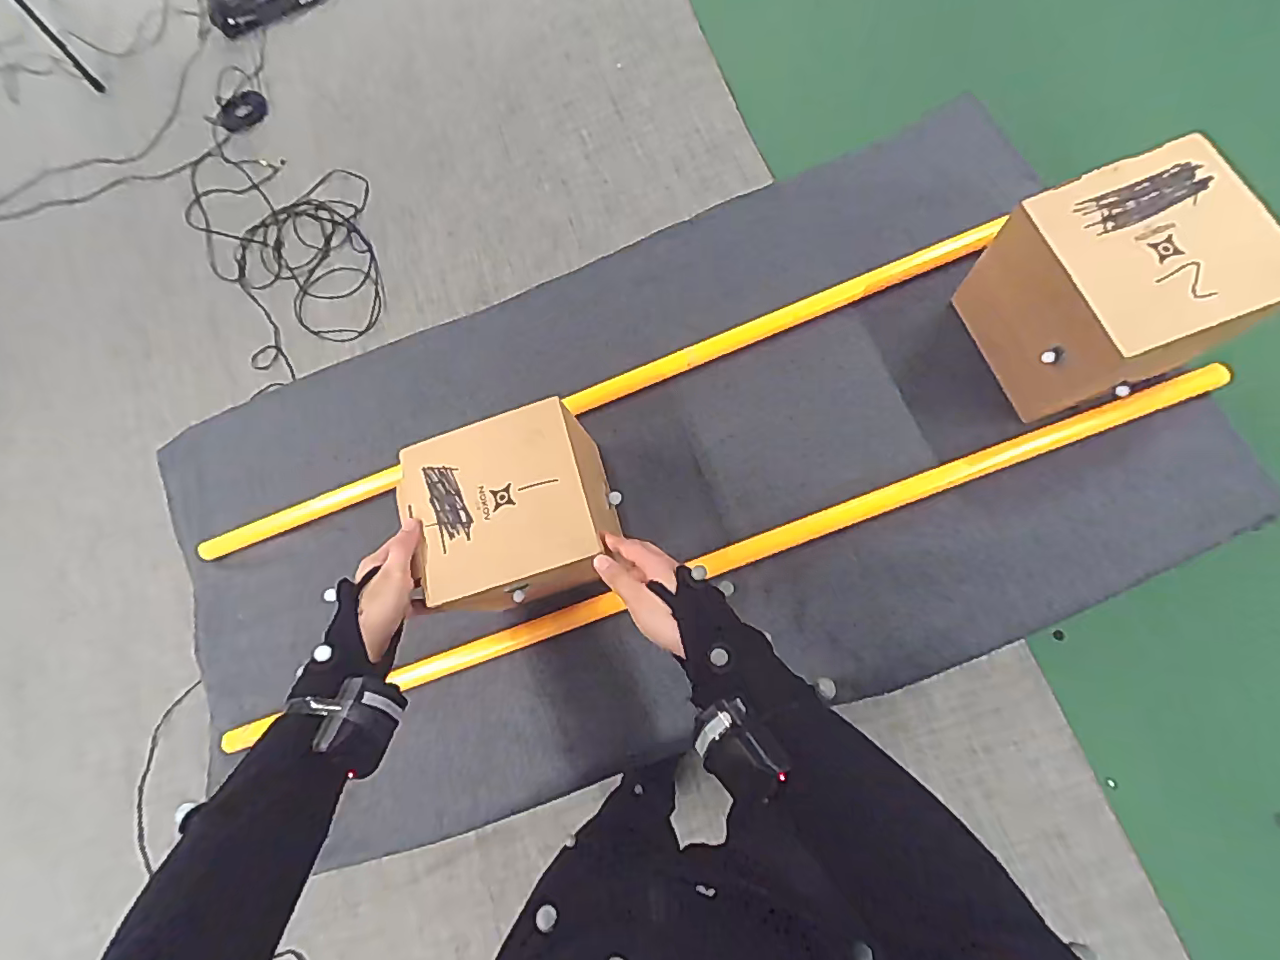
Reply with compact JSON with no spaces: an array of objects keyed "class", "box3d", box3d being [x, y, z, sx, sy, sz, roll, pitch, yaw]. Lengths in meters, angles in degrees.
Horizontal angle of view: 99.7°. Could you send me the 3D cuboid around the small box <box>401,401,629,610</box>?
[{"class":"small box","box3d":[-0.126,0.041,0.593,0.179,0.176,0.168,-19,74,4]}]
